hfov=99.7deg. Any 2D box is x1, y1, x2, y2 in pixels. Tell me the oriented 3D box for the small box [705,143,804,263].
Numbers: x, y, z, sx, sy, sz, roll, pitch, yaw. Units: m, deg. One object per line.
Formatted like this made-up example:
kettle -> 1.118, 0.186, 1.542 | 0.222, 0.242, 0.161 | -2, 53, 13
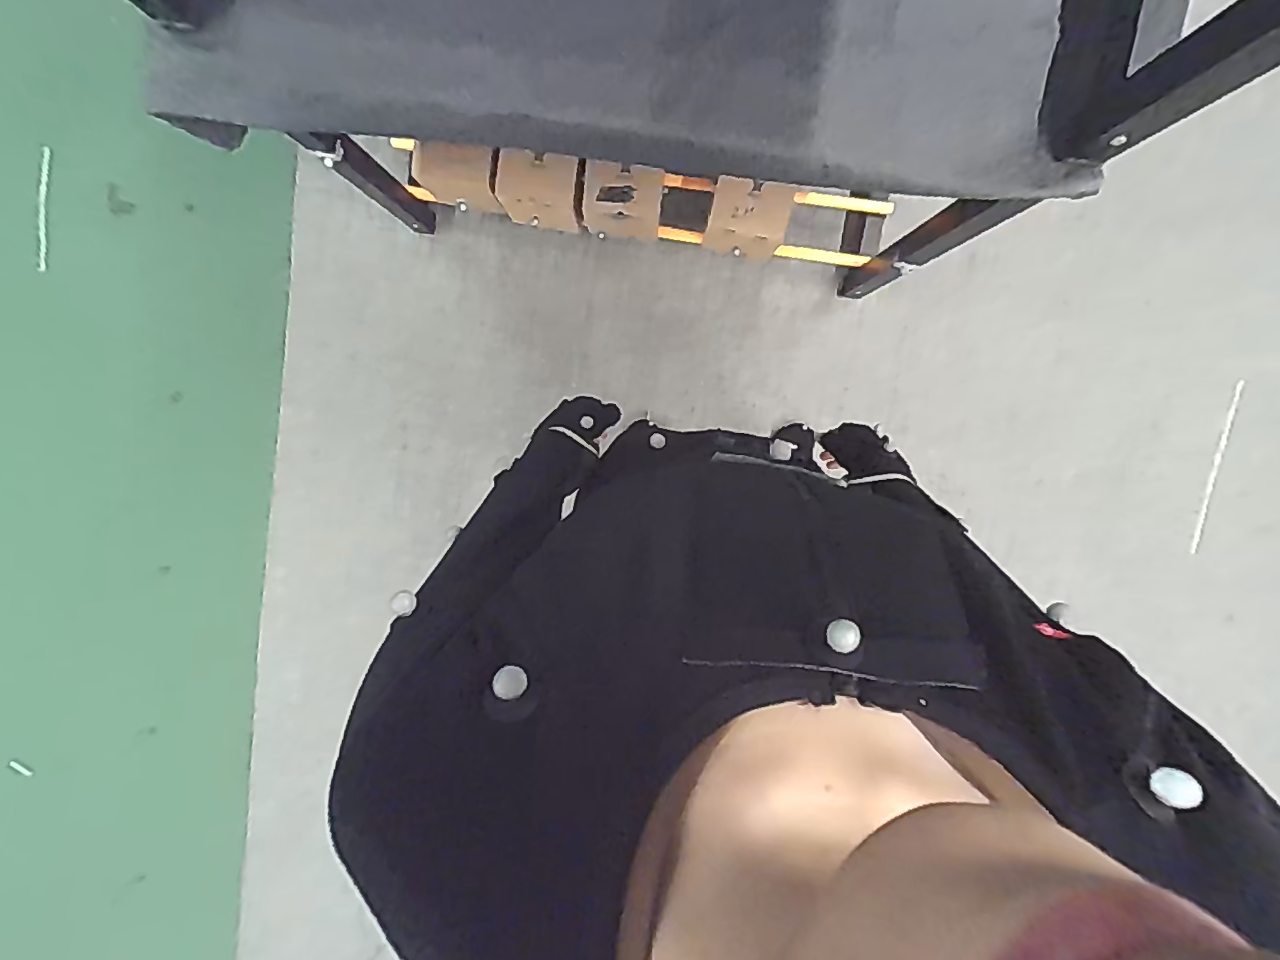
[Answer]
small box -> 0.247, -0.613, 1.217 | 0.168, 0.176, 0.179 | 13, 99, 0
